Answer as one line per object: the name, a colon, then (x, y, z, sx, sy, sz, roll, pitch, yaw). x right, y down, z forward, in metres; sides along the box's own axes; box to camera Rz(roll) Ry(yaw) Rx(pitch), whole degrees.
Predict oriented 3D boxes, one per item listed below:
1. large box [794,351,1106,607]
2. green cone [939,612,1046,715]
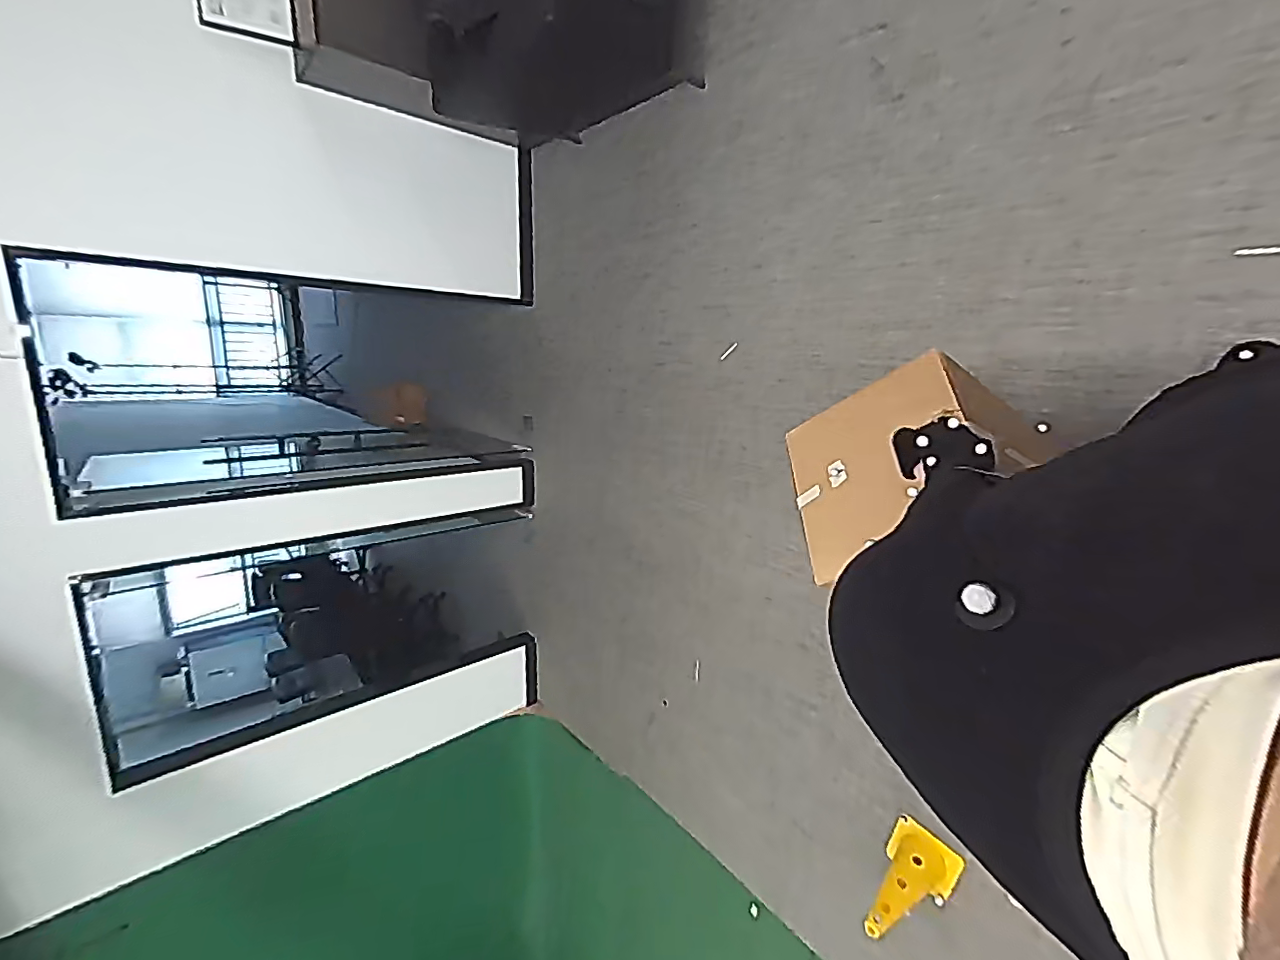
large box: (0.555, 0.030, 1.004, 0.320, 0.408, 0.320, -34, 50, 43)
green cone: (0.874, 0.517, 1.414, 0.200, 0.368, 0.202, 24, 116, 45)
